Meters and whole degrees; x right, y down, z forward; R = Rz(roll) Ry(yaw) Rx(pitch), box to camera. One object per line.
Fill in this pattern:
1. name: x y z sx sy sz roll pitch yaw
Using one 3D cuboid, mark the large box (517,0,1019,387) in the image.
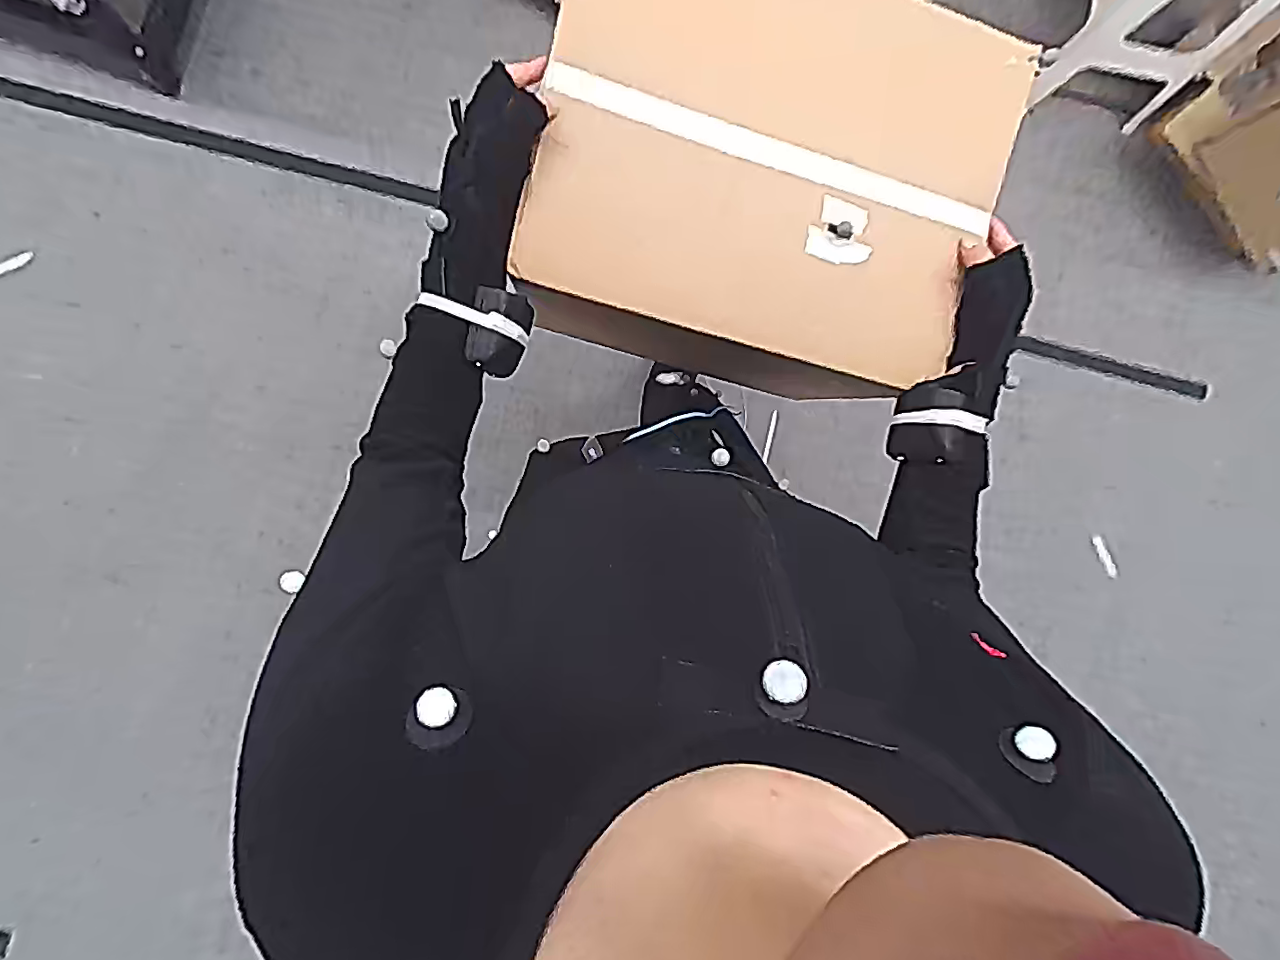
1. large box: 0.097 -0.304 0.617 0.408 0.320 0.320 13 98 -10
